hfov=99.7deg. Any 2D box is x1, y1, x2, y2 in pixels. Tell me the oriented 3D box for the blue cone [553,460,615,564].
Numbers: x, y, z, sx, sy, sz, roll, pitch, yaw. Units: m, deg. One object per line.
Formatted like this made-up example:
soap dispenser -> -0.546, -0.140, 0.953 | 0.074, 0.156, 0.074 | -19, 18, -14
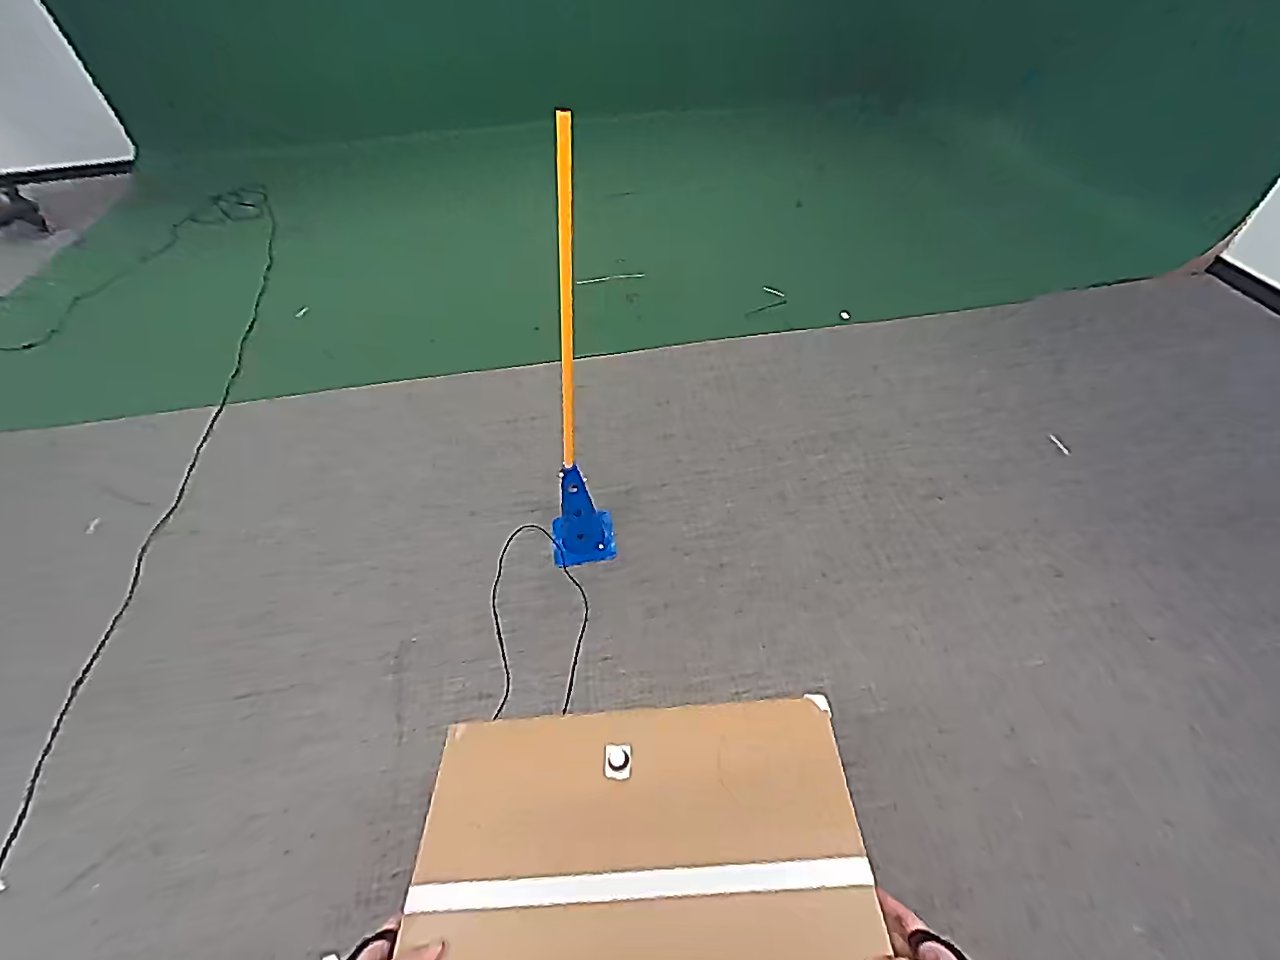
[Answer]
blue cone -> -0.188, 0.072, 1.632 | 0.193, 0.380, 0.192 | -9, 50, -7
